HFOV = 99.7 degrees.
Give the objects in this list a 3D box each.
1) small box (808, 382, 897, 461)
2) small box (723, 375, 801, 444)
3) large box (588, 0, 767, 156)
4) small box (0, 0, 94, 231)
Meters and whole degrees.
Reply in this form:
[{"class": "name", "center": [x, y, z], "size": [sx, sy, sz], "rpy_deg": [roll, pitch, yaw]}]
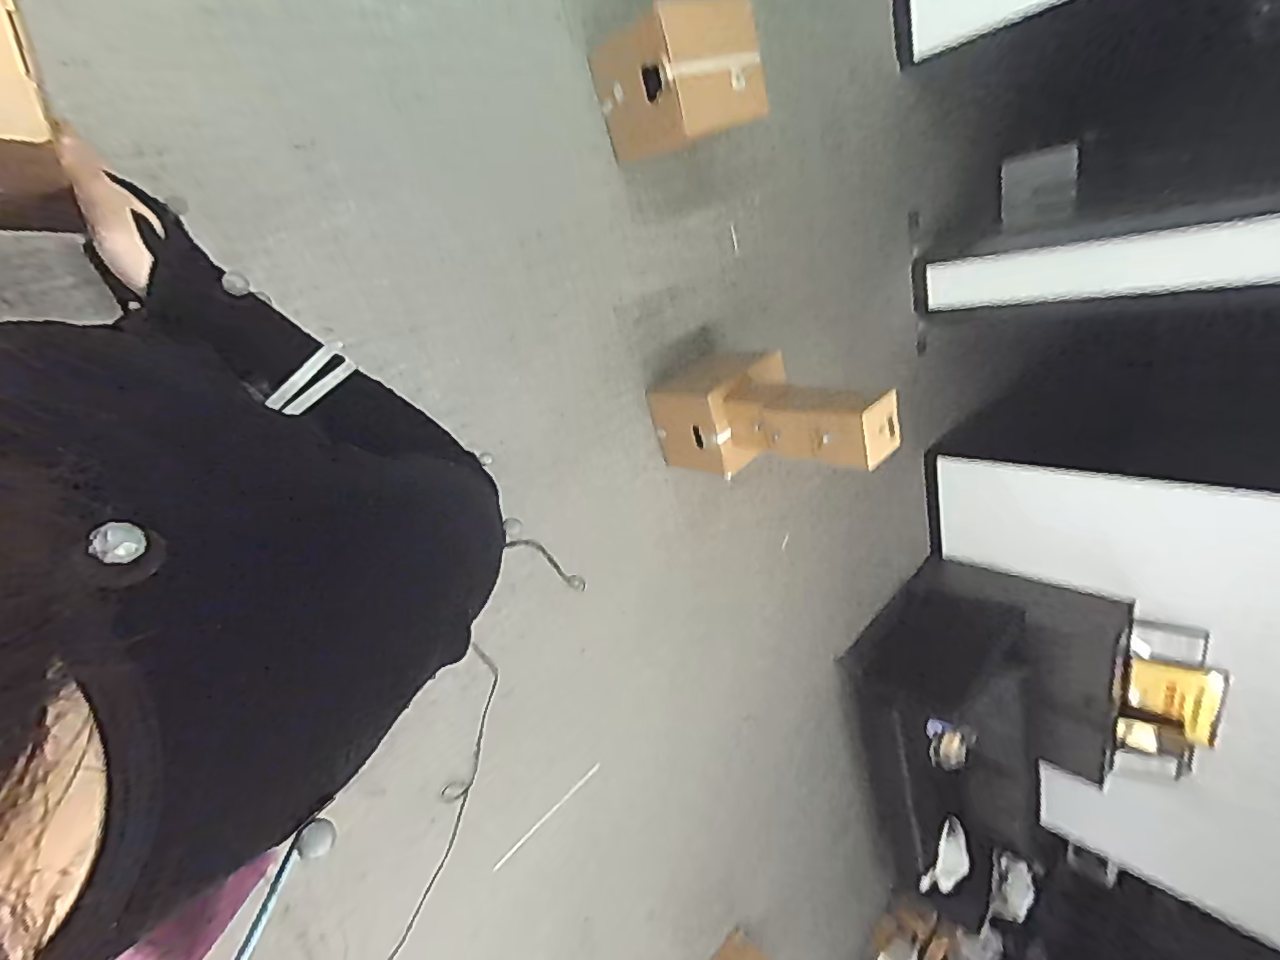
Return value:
[{"class": "small box", "center": [0.604, -0.174, 1.537], "size": [0.179, 0.176, 0.168], "rpy_deg": [-32, 118, -29]}, {"class": "small box", "center": [0.402, -0.239, 1.789], "size": [0.168, 0.176, 0.179], "rpy_deg": [-36, 120, -29]}, {"class": "large box", "center": [0.119, -1.237, 1.643], "size": [0.408, 0.320, 0.320], "rpy_deg": [-35, 120, -31]}, {"class": "small box", "center": [-0.420, -0.237, 0.275], "size": [0.179, 0.176, 0.168], "rpy_deg": [-16, 105, -39]}]
